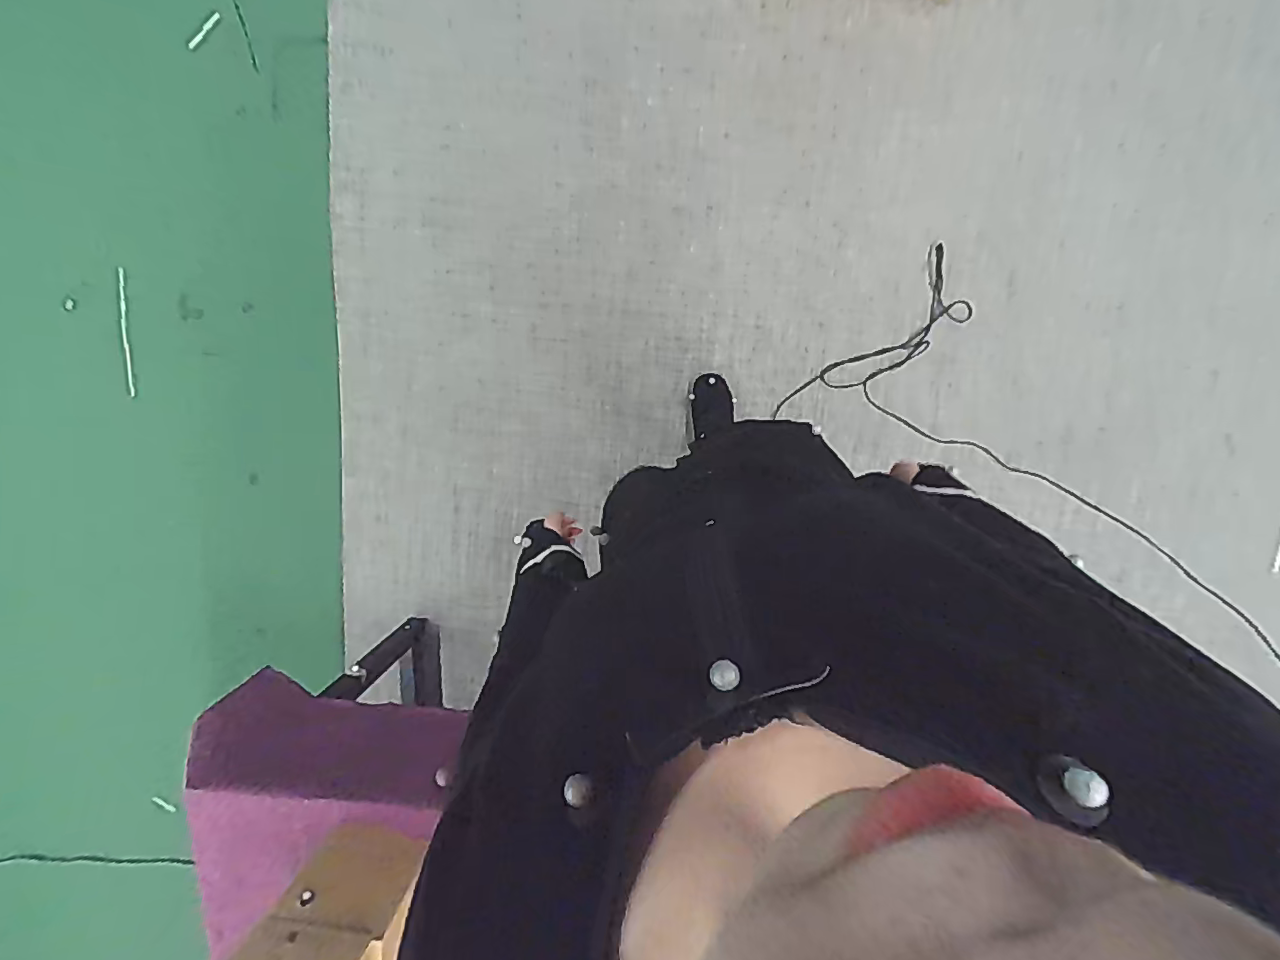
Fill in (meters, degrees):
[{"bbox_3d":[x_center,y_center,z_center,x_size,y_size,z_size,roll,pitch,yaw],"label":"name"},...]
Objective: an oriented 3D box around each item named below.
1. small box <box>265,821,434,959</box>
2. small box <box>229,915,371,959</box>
[{"bbox_3d":[-0.445,0.678,0.848,0.179,0.176,0.168,9,102,5],"label":"small box"},{"bbox_3d":[-0.465,0.708,0.688,0.168,0.176,0.179,5,101,6],"label":"small box"}]
